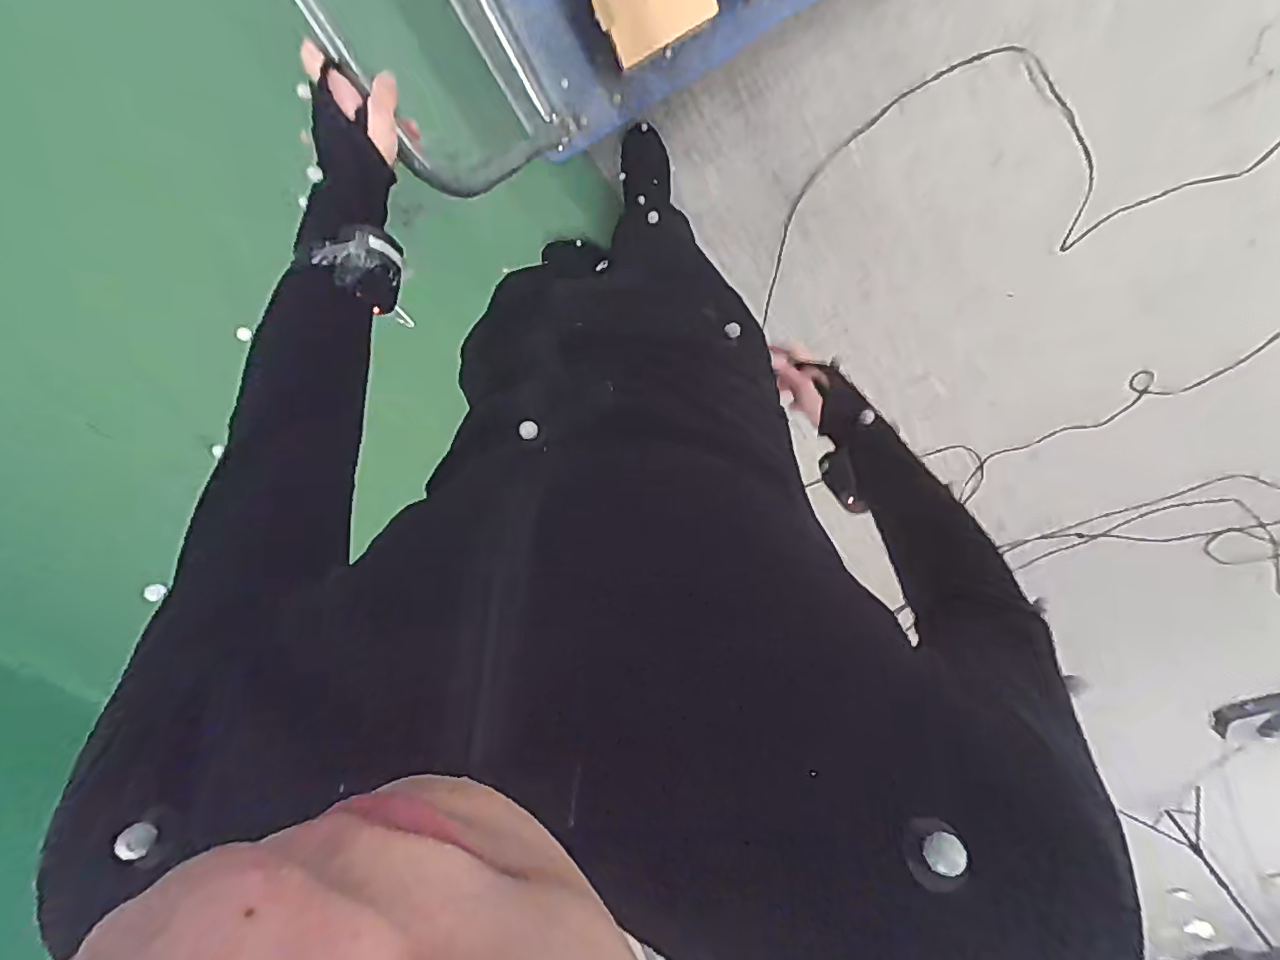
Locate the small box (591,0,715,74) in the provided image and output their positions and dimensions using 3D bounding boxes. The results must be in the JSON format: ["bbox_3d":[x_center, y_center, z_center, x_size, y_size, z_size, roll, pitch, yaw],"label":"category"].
[{"bbox_3d":[0.010,-0.826,0.918,0.179,0.176,0.168,-21,123,15],"label":"small box"}]
